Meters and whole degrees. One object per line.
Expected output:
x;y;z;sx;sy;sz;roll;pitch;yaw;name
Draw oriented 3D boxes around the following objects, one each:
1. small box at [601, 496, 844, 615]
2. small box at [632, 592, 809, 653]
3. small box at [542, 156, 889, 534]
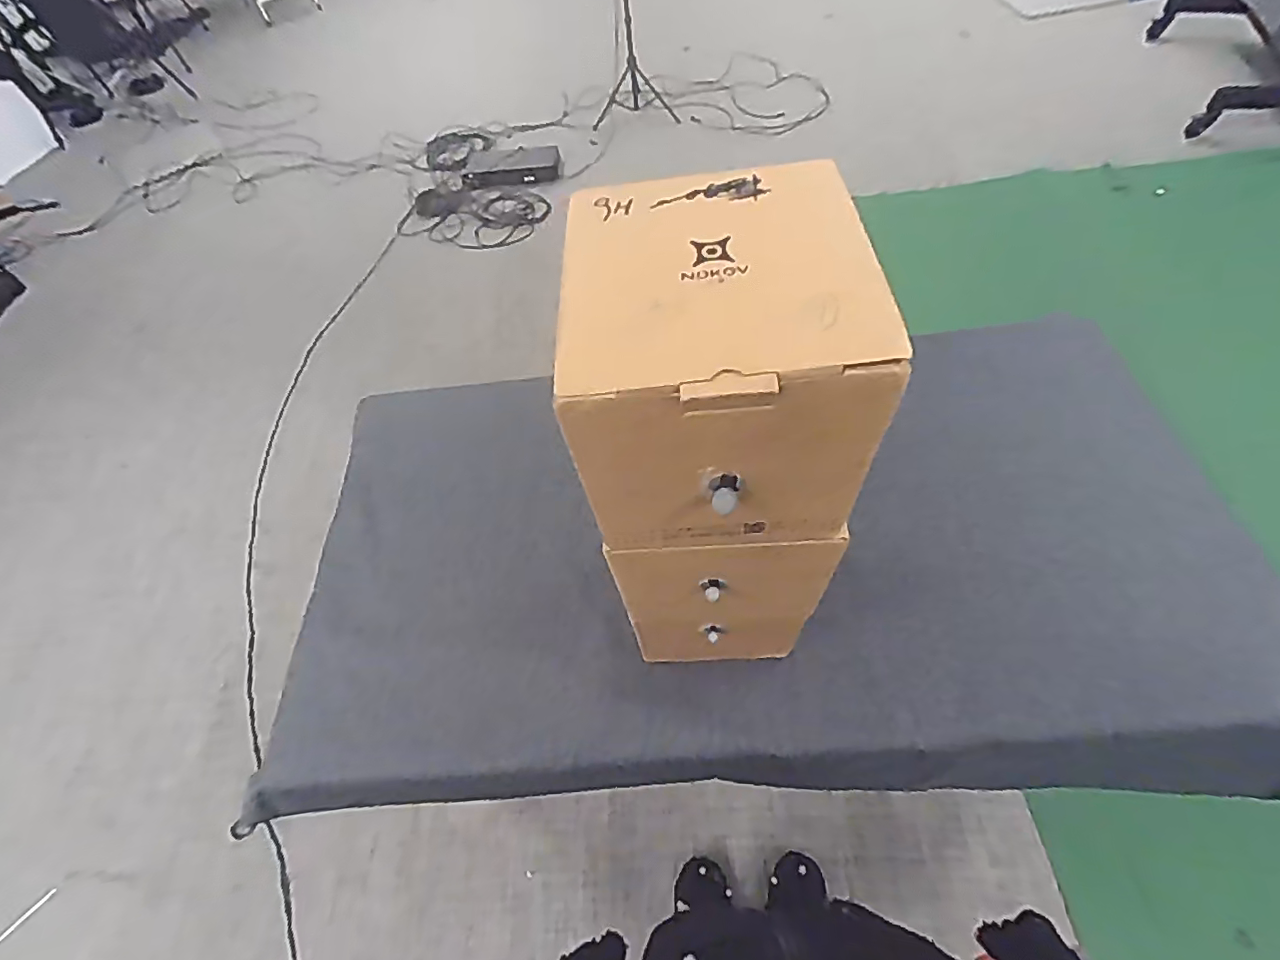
0.067;0.017;0.494;0.179;0.176;0.168;-5;58;7;small box
0.086;0.099;0.635;0.179;0.176;0.168;-5;58;4;small box
0.042;-0.073;0.360;0.168;0.176;0.179;-6;59;6;small box
